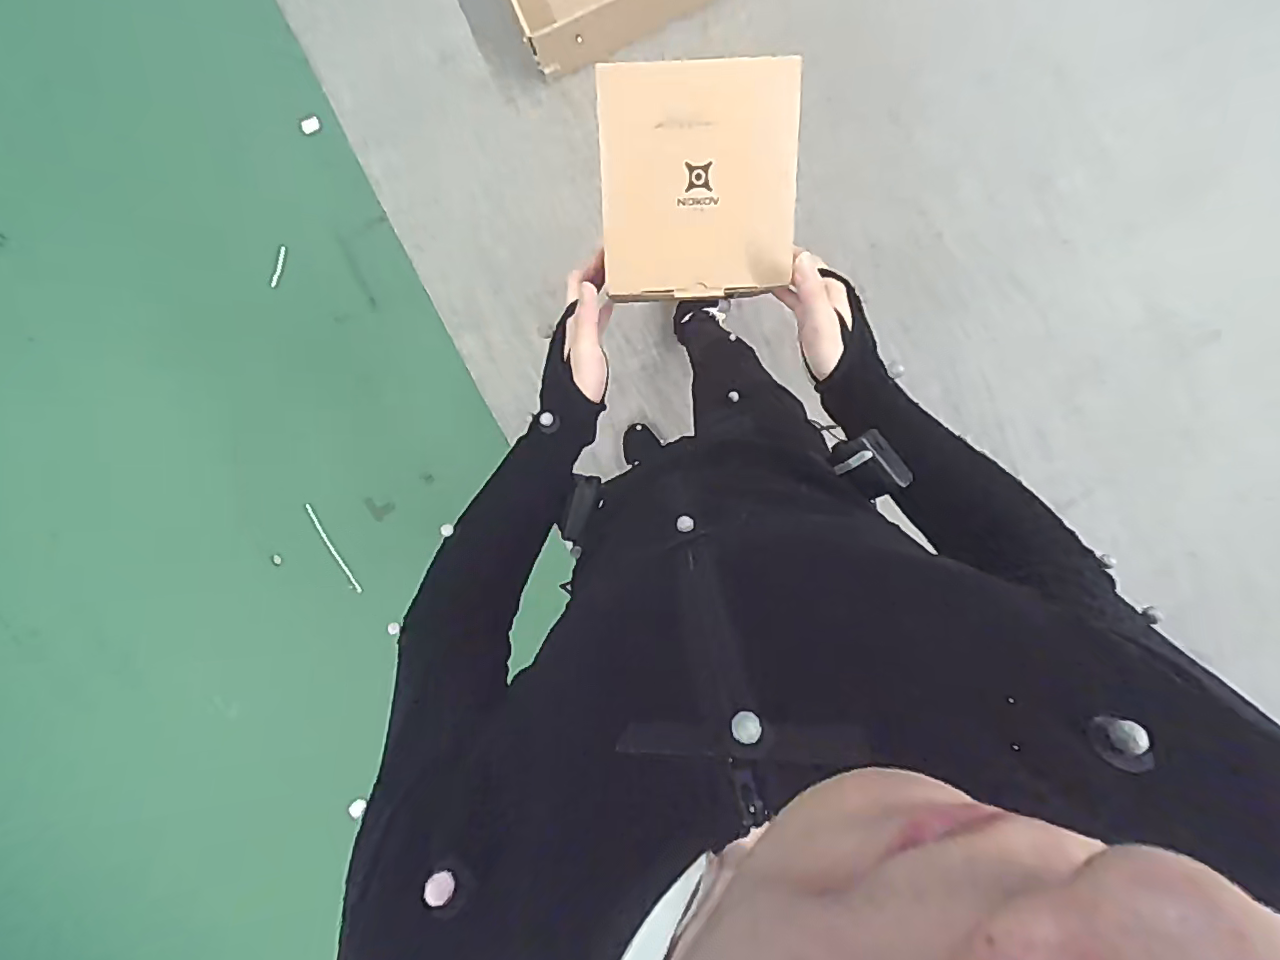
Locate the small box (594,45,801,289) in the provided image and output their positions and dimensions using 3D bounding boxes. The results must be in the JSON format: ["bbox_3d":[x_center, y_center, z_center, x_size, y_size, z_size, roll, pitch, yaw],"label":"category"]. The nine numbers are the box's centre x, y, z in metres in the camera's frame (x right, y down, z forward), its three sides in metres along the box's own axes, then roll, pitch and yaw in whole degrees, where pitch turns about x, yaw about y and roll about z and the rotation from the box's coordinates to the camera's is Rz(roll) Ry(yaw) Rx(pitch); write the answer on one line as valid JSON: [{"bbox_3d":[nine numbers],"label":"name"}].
[{"bbox_3d":[0.045,-0.279,0.523,0.168,0.176,0.179,-1,106,-1],"label":"small box"}]
